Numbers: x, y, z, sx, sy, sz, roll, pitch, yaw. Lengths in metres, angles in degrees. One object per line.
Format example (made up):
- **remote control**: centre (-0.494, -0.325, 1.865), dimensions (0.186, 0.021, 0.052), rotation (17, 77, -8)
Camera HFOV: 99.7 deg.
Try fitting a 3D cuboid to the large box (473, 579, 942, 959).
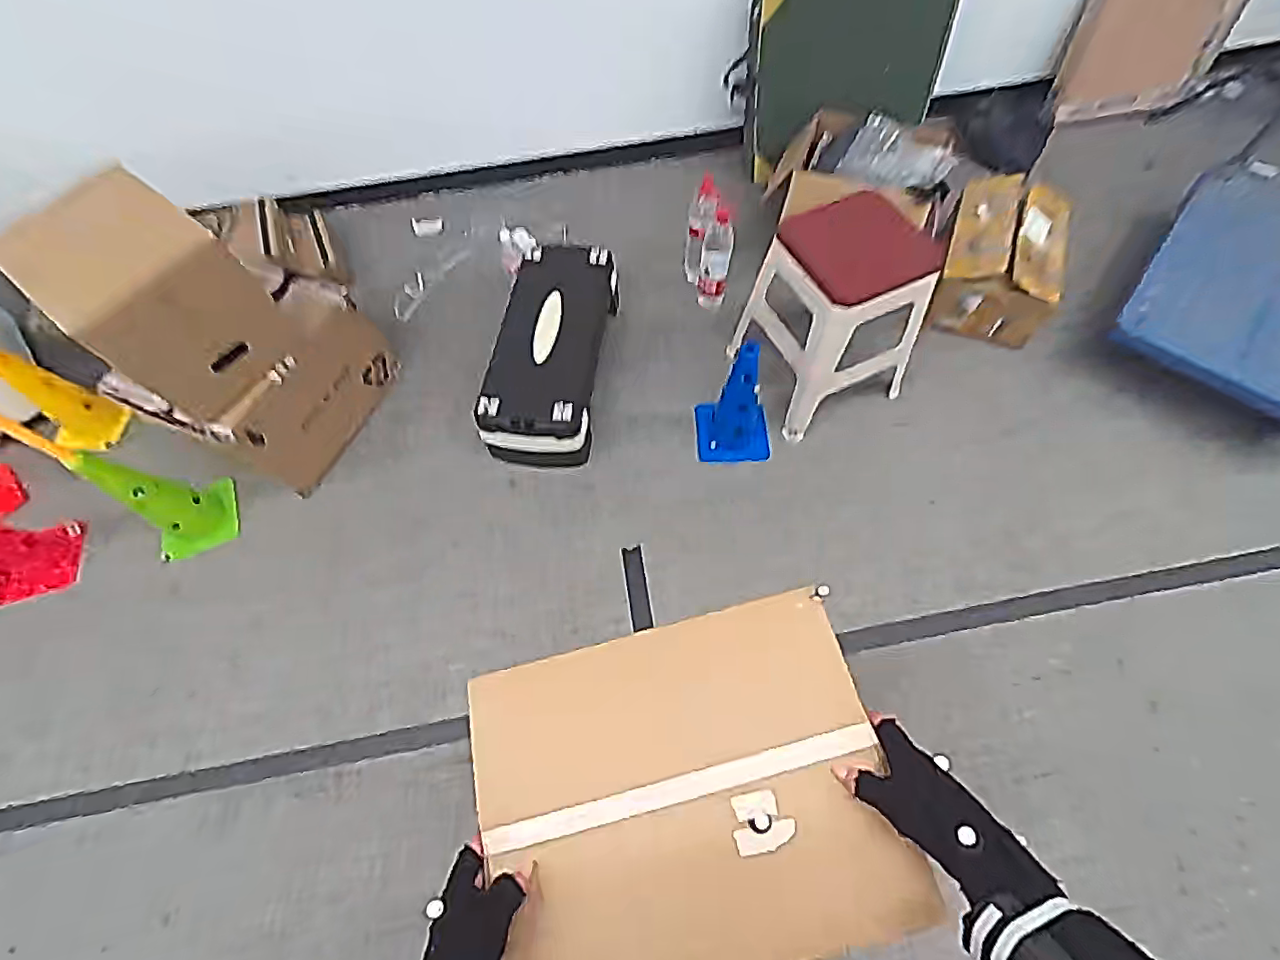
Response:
- **large box**: centre (0.054, 0.362, 0.671), dimensions (0.408, 0.320, 0.320), rotation (-15, 64, -2)
